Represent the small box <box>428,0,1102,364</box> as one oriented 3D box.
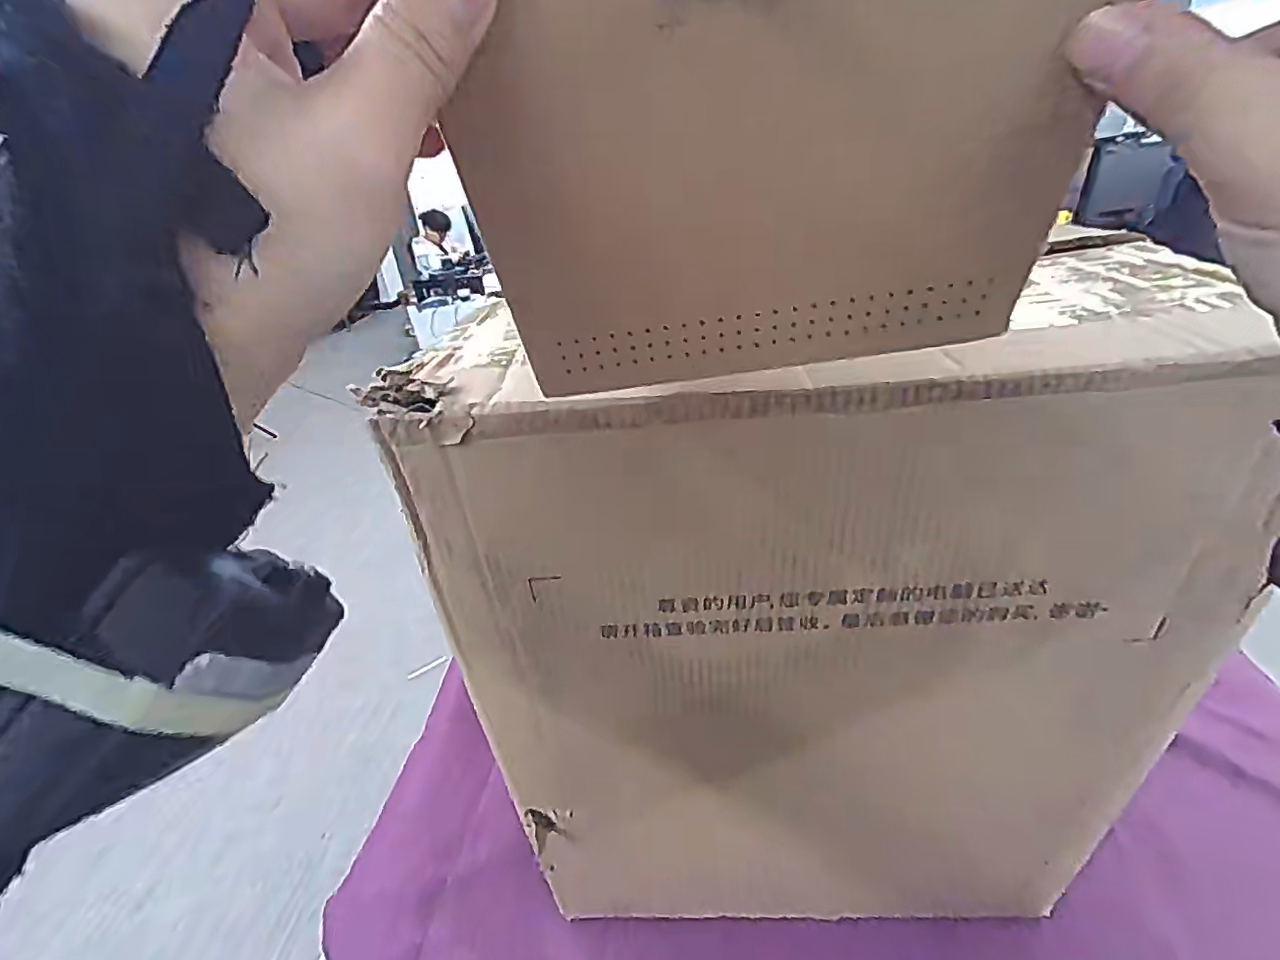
[{"bbox_3d":[0.033,-0.159,0.193,0.179,0.176,0.168,-6,51,5],"label":"small box"}]
